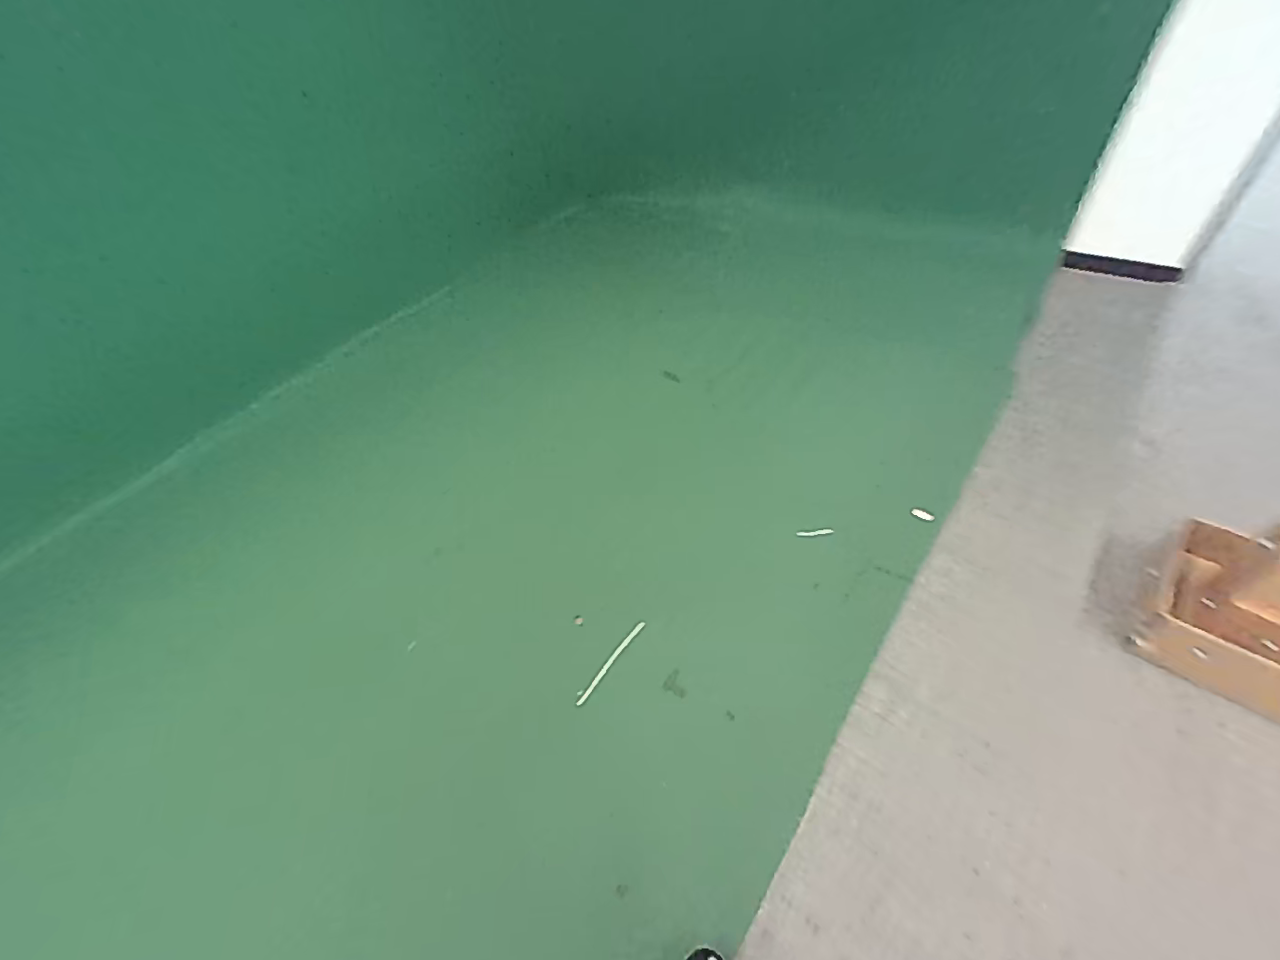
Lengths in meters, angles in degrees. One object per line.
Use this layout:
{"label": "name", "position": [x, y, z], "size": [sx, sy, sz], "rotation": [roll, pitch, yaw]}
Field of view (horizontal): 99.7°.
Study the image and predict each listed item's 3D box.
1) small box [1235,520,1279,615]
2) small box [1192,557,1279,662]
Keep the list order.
{"label": "small box", "position": [1.580, 0.223, 1.285], "size": [0.168, 0.176, 0.179], "rotation": [26, 58, 26]}
{"label": "small box", "position": [1.592, 0.337, 1.400], "size": [0.168, 0.176, 0.179], "rotation": [27, 58, 27]}
